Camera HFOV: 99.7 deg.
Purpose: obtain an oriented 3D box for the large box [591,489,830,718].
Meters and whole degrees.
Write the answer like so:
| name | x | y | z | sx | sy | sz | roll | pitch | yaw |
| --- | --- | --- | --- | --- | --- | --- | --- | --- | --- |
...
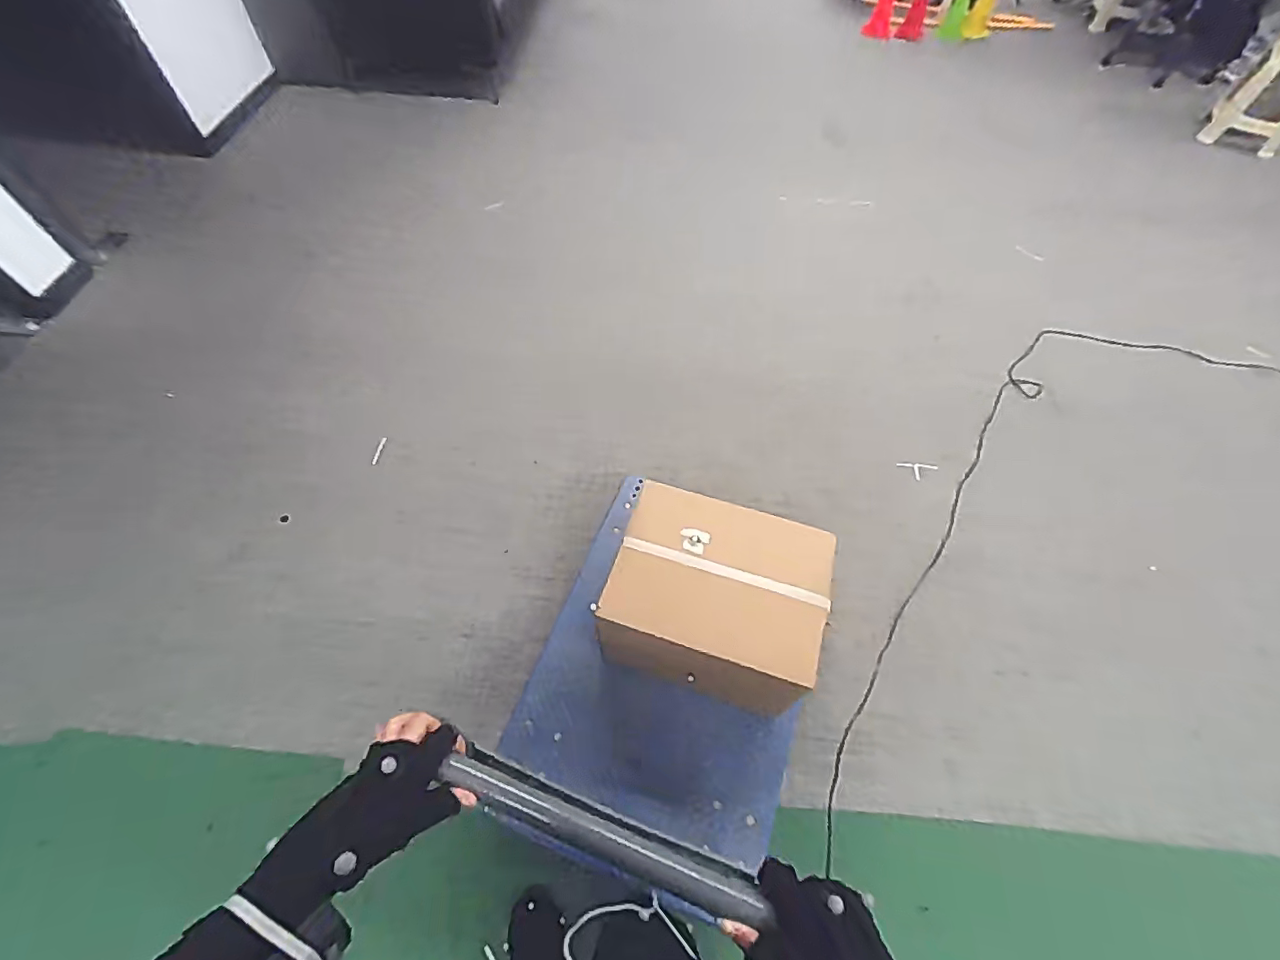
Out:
| name | x | y | z | sx | sy | sz | roll | pitch | yaw |
| --- | --- | --- | --- | --- | --- | --- | --- | --- | --- |
| large box | 0.148 | 0.270 | 1.155 | 0.408 | 0.320 | 0.320 | 16 | 57 | 11 |
